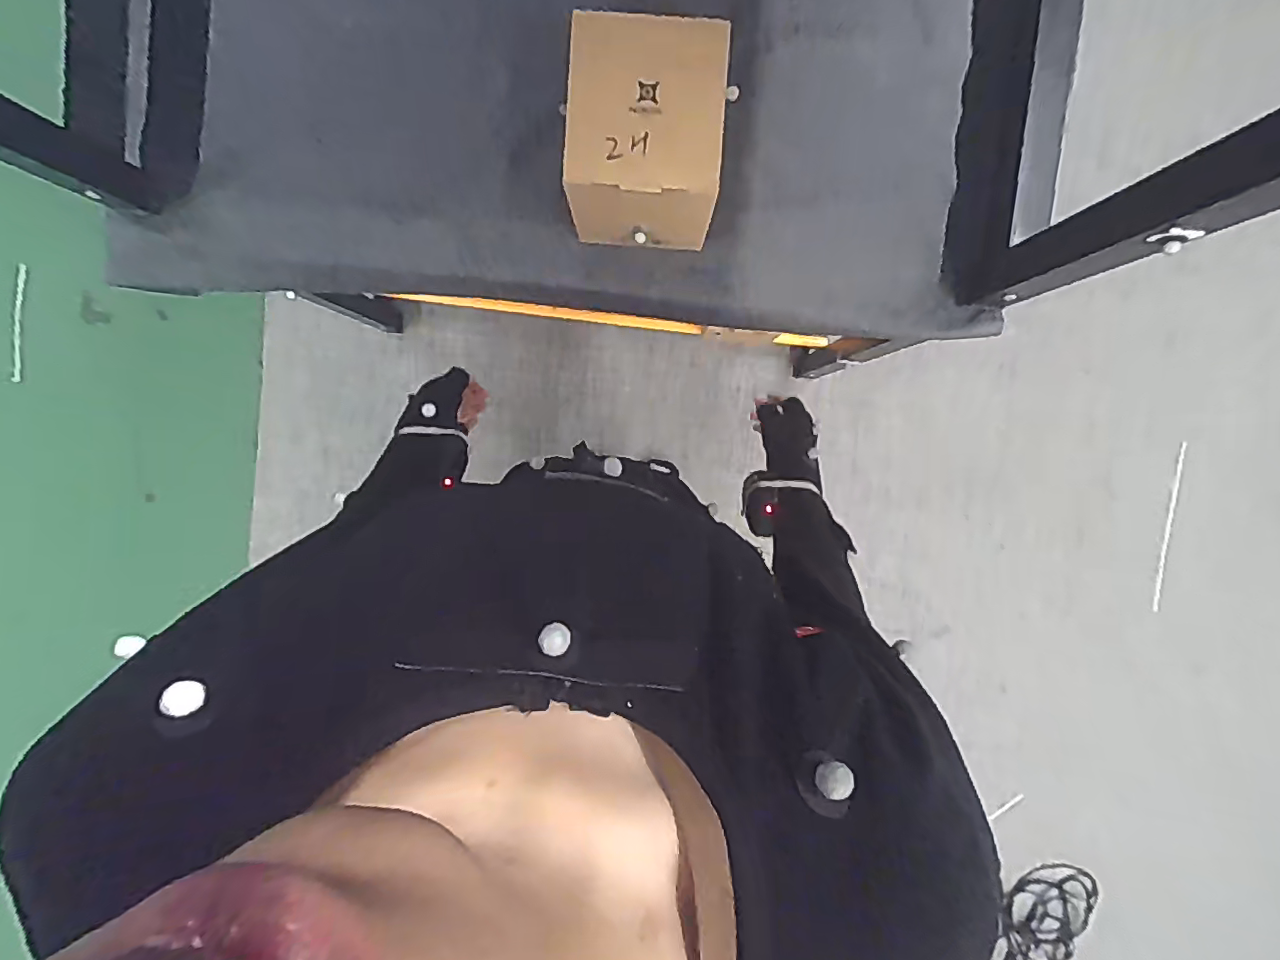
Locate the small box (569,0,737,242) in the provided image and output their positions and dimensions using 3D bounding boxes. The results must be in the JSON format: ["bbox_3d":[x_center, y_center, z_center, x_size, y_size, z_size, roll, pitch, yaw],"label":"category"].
[{"bbox_3d":[0.012,-0.407,0.639,0.168,0.176,0.179,4,94,0],"label":"small box"}]
